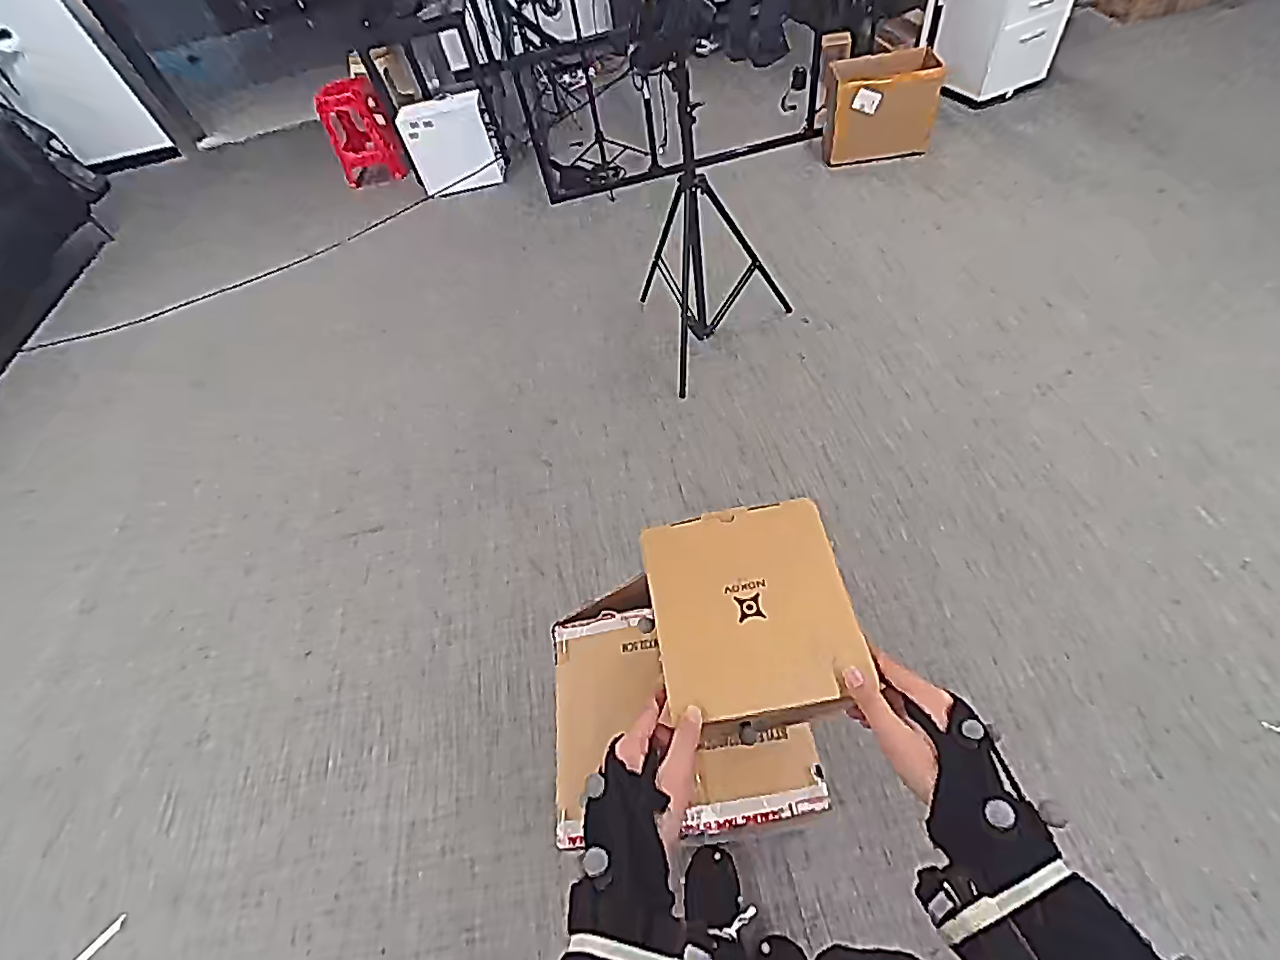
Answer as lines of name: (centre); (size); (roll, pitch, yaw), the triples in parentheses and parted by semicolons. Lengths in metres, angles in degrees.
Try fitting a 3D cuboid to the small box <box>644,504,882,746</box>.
small box: (0.106, 0.150, 0.525); (0.168, 0.176, 0.179); (-12, 58, 2)
